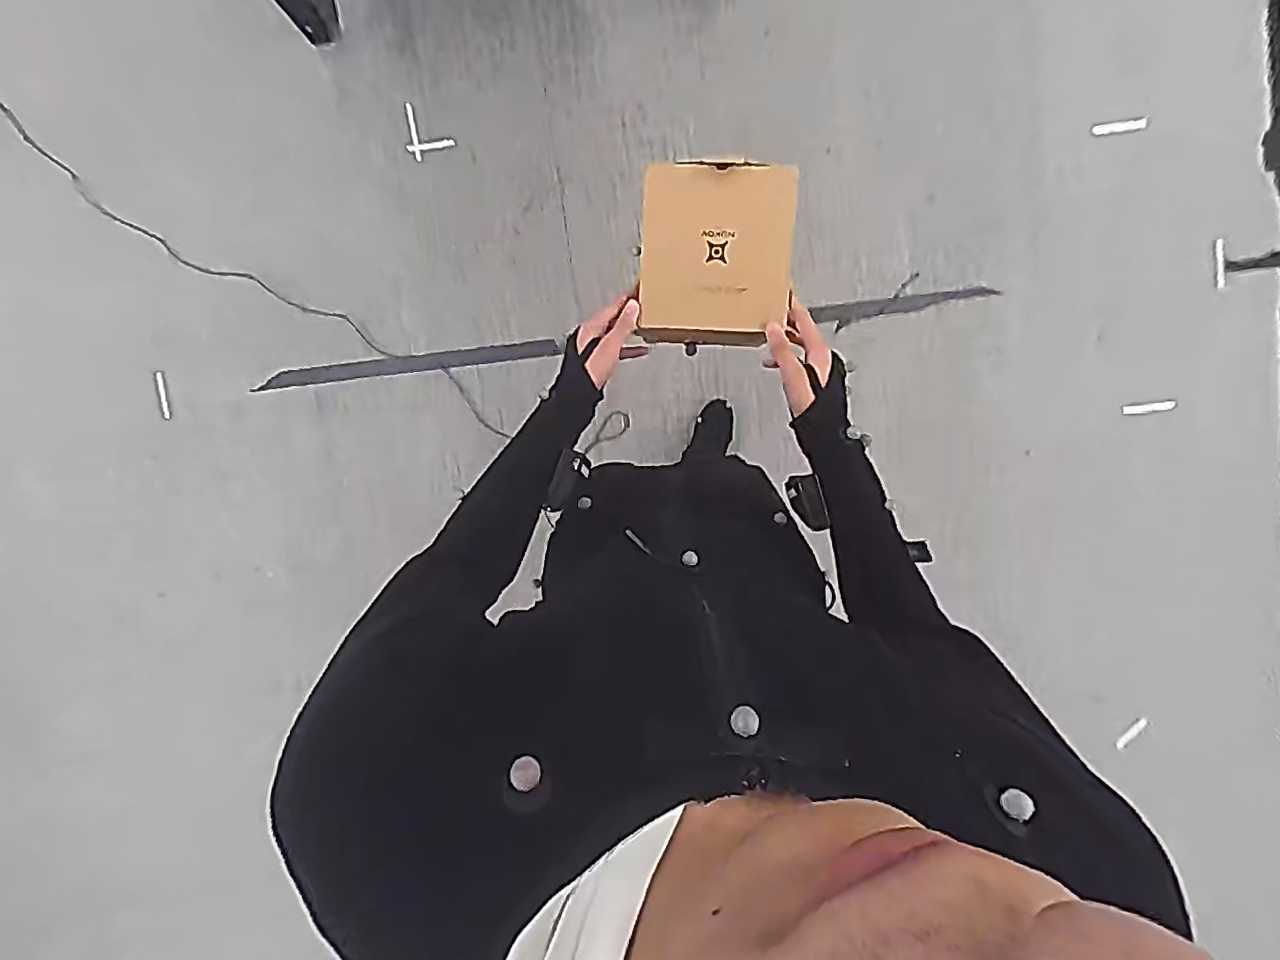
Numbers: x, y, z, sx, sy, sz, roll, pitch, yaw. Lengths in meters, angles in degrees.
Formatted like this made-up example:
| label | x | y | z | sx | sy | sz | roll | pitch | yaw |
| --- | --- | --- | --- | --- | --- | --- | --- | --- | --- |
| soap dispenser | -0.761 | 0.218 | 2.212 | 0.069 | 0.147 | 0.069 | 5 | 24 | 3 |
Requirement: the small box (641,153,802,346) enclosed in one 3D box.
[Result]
| label | x | y | z | sx | sy | sz | roll | pitch | yaw |
| --- | --- | --- | --- | --- | --- | --- | --- | --- | --- |
| small box | 0.089 | -0.266 | 0.658 | 0.168 | 0.176 | 0.179 | 3 | 98 | 3 |
